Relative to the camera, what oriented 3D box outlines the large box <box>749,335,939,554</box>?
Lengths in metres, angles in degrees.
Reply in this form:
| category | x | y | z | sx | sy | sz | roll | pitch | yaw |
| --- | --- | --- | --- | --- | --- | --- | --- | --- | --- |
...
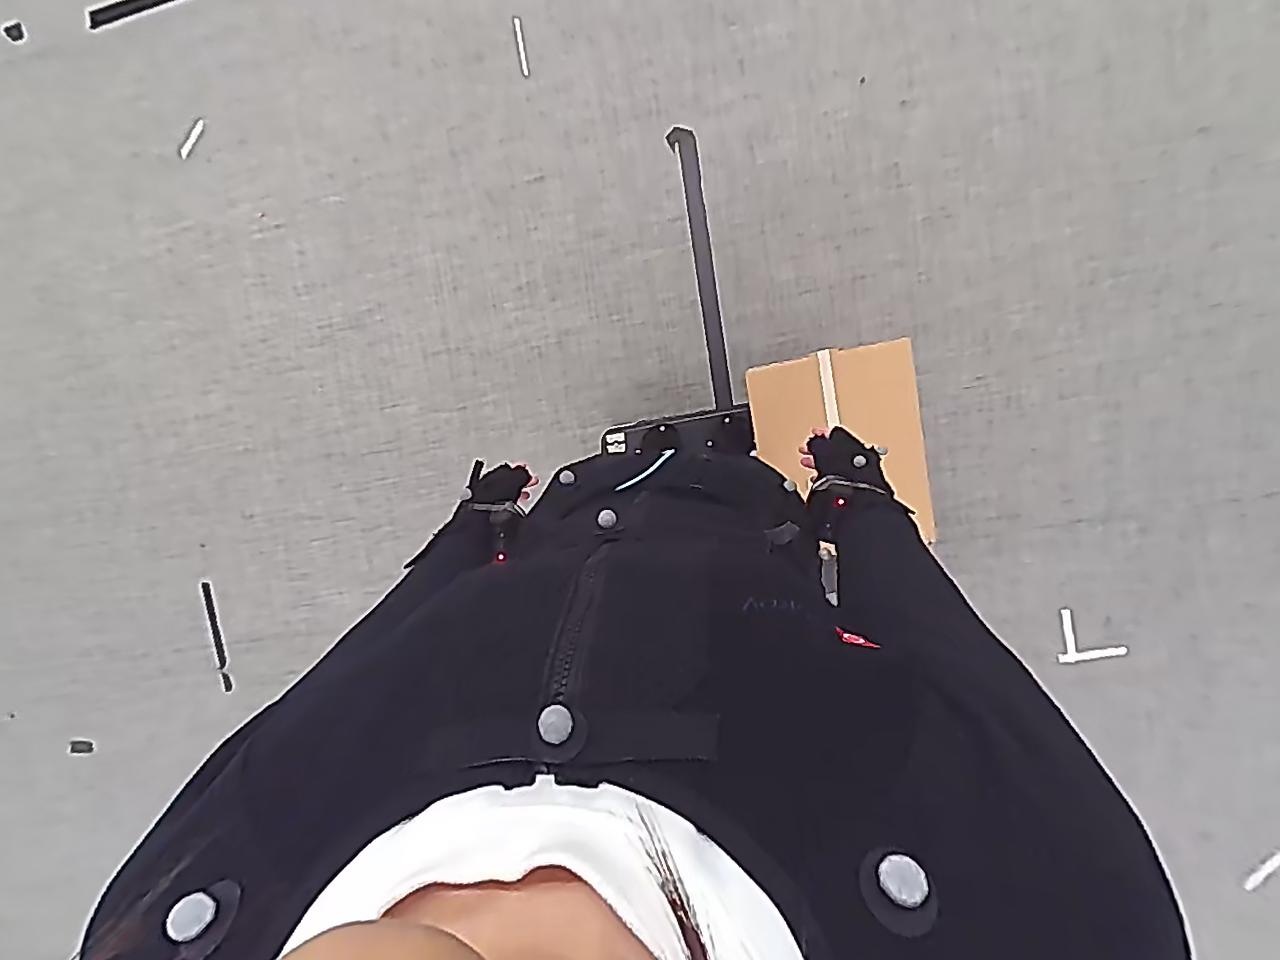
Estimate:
| category | x | y | z | sx | sy | sz | roll | pitch | yaw |
| --- | --- | --- | --- | --- | --- | --- | --- | --- | --- |
| large box | 0.440 | -0.084 | 1.220 | 0.320 | 0.320 | 0.408 | -9 | 97 | 16 |
